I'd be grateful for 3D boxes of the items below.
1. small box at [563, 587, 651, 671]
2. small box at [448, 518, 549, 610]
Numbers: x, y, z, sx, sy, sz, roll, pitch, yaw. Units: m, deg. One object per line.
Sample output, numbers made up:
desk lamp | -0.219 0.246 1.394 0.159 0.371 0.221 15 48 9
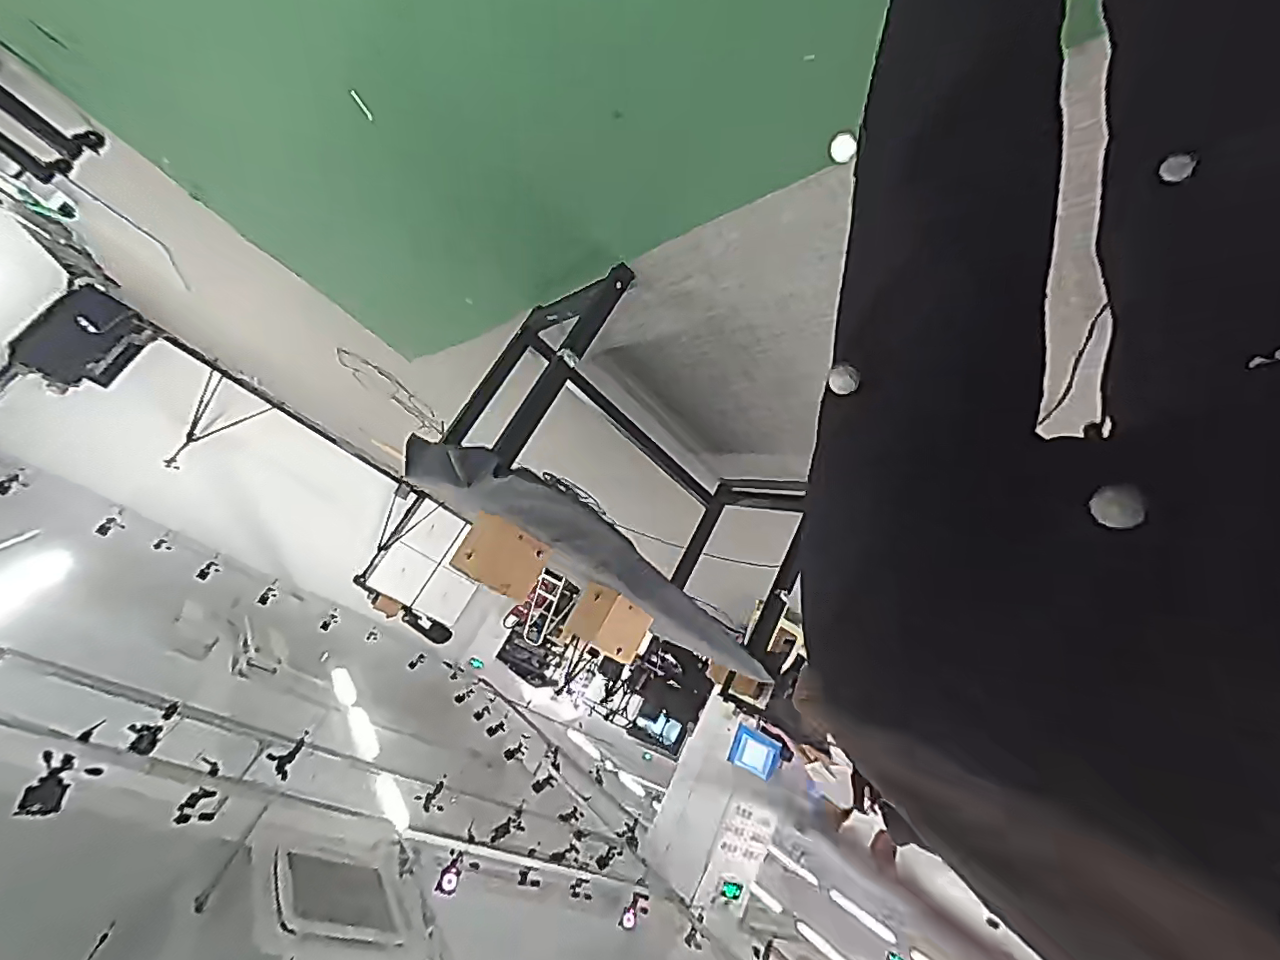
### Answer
small box | -0.097 0.445 1.646 0.168 0.176 0.179 40 161 -31
small box | -0.366 0.214 1.419 0.168 0.176 0.179 40 161 -31
